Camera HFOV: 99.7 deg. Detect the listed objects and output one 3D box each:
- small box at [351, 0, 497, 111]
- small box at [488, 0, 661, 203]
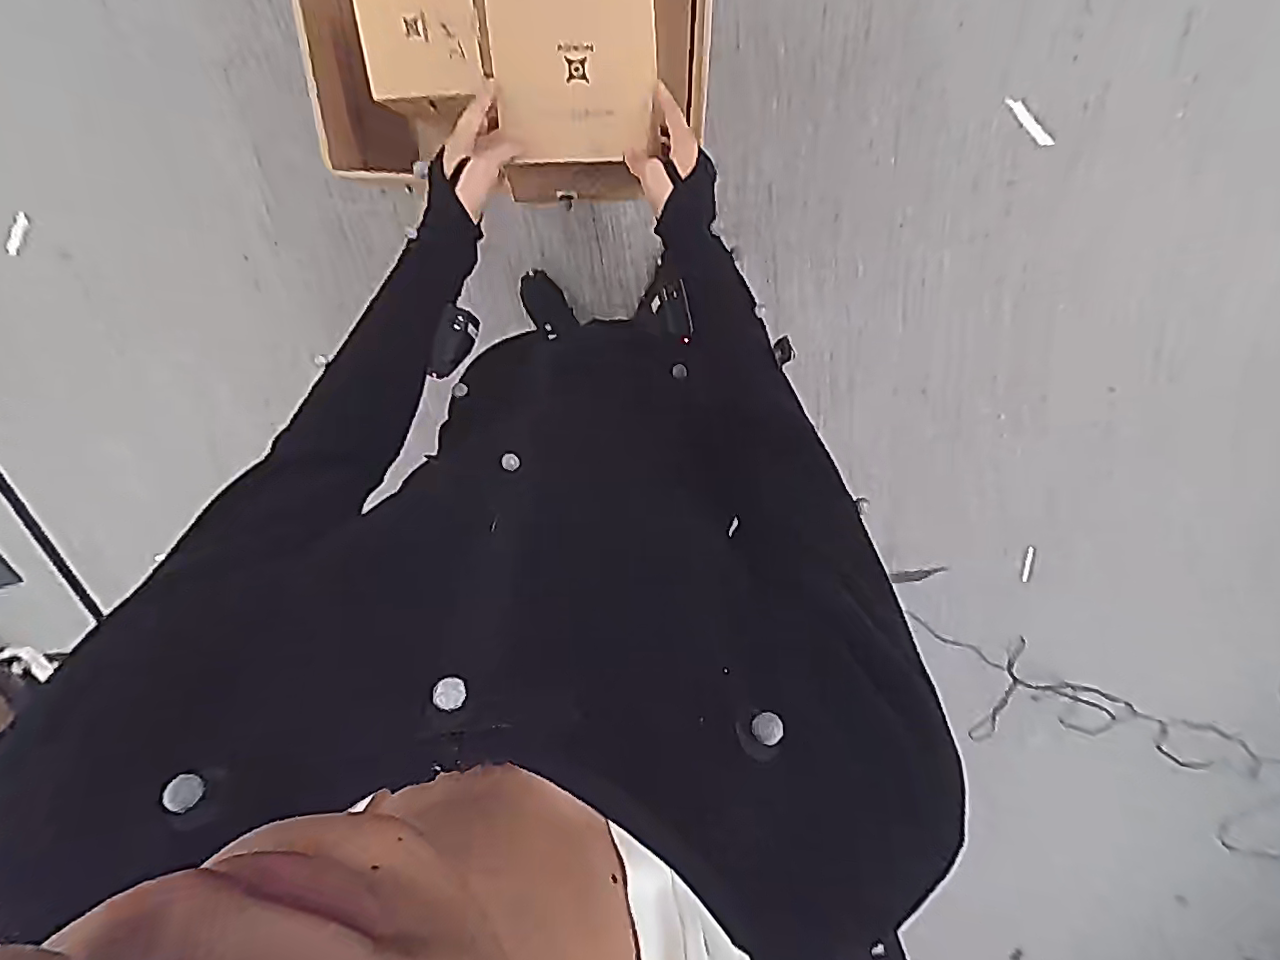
[{"bbox_3d":[-0.320,-0.689,0.843,0.179,0.176,0.168,-2,116,1],"label":"small box"},{"bbox_3d":[-0.076,-0.431,0.610,0.168,0.176,0.179,-6,104,-8],"label":"small box"}]
